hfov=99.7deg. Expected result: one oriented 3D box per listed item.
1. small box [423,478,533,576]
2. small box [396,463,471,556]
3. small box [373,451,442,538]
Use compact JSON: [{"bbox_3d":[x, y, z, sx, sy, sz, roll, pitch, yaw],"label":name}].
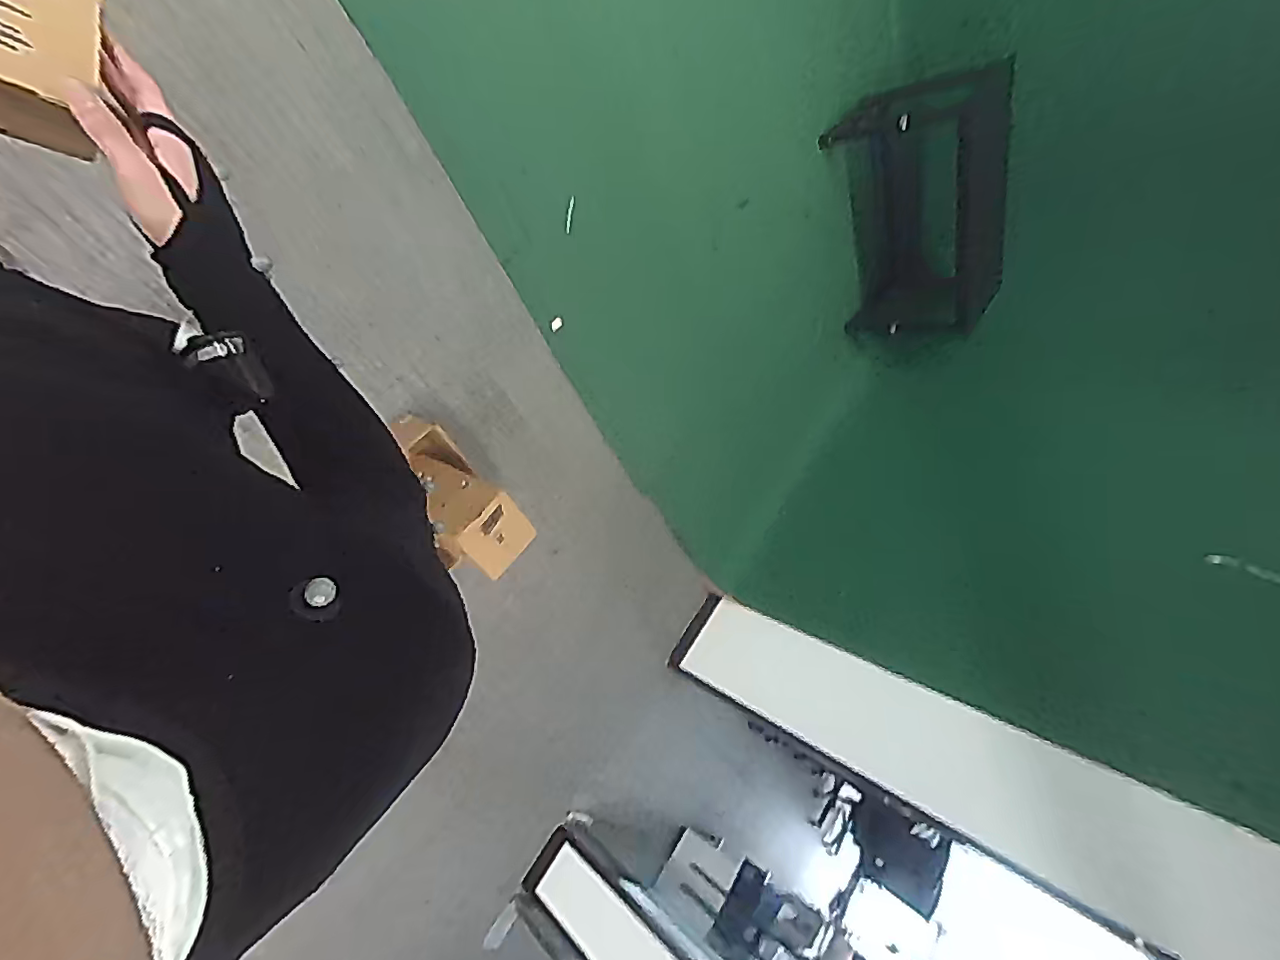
[{"bbox_3d":[-0.417,0.111,1.388,0.168,0.176,0.179,-50,135,-23],"label":"small box"},{"bbox_3d":[-0.534,0.075,1.499,0.168,0.176,0.179,-48,133,-24],"label":"small box"},{"bbox_3d":[-0.649,0.037,1.607,0.168,0.176,0.179,-48,135,-25],"label":"small box"}]
